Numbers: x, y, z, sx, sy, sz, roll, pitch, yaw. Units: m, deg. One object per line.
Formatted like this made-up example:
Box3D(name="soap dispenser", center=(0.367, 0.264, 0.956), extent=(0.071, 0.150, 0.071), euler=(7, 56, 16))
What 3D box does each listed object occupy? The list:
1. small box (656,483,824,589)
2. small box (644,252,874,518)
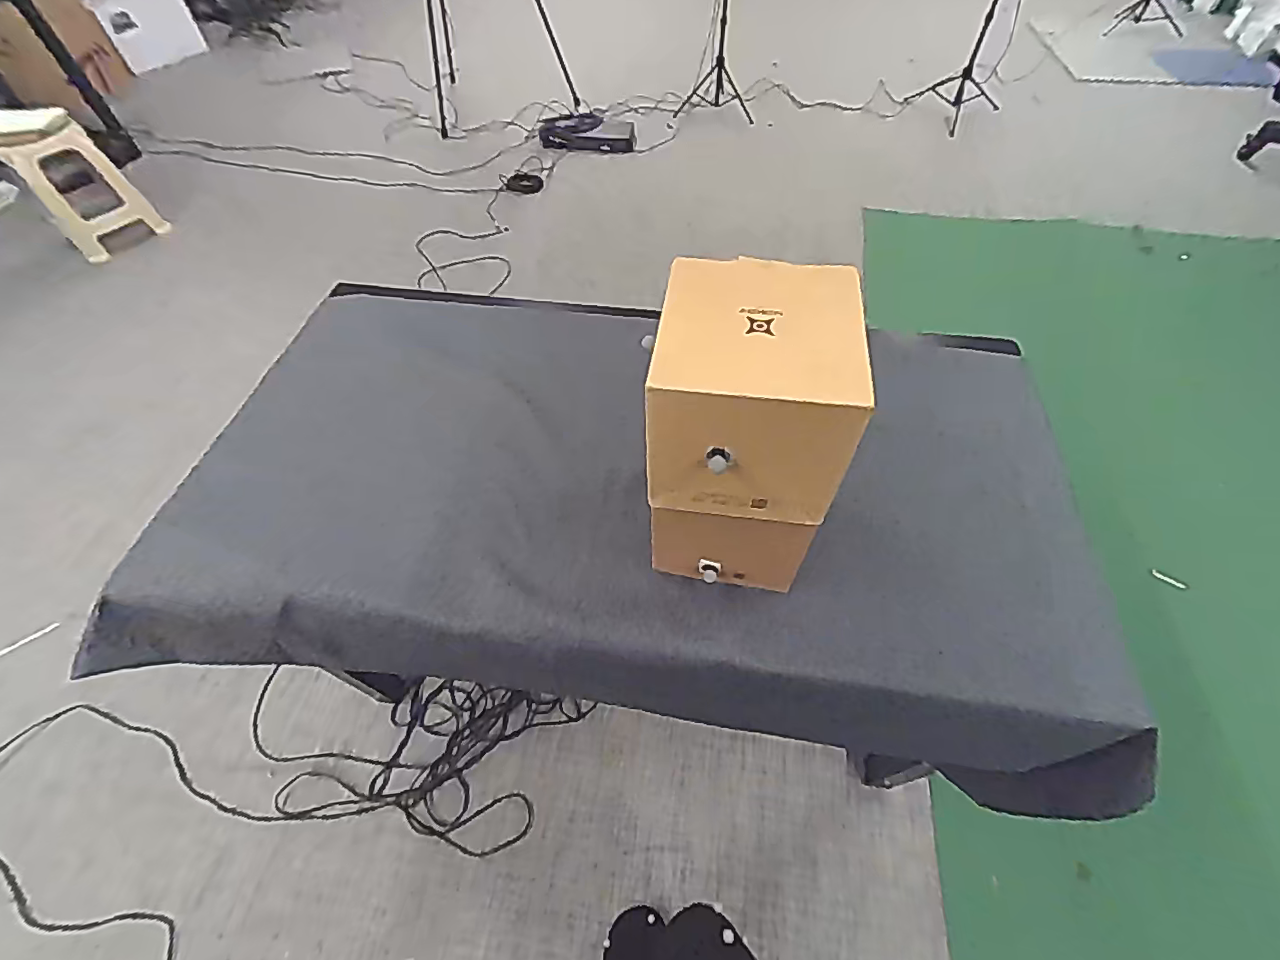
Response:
Box3D(name="small box", center=(0.111, 0.005, 0.633), extent=(0.168, 0.176, 0.179), euler=(7, 56, 8))
Box3D(name="small box", center=(0.101, -0.083, 0.496), extent=(0.168, 0.176, 0.179), euler=(6, 54, 7))
